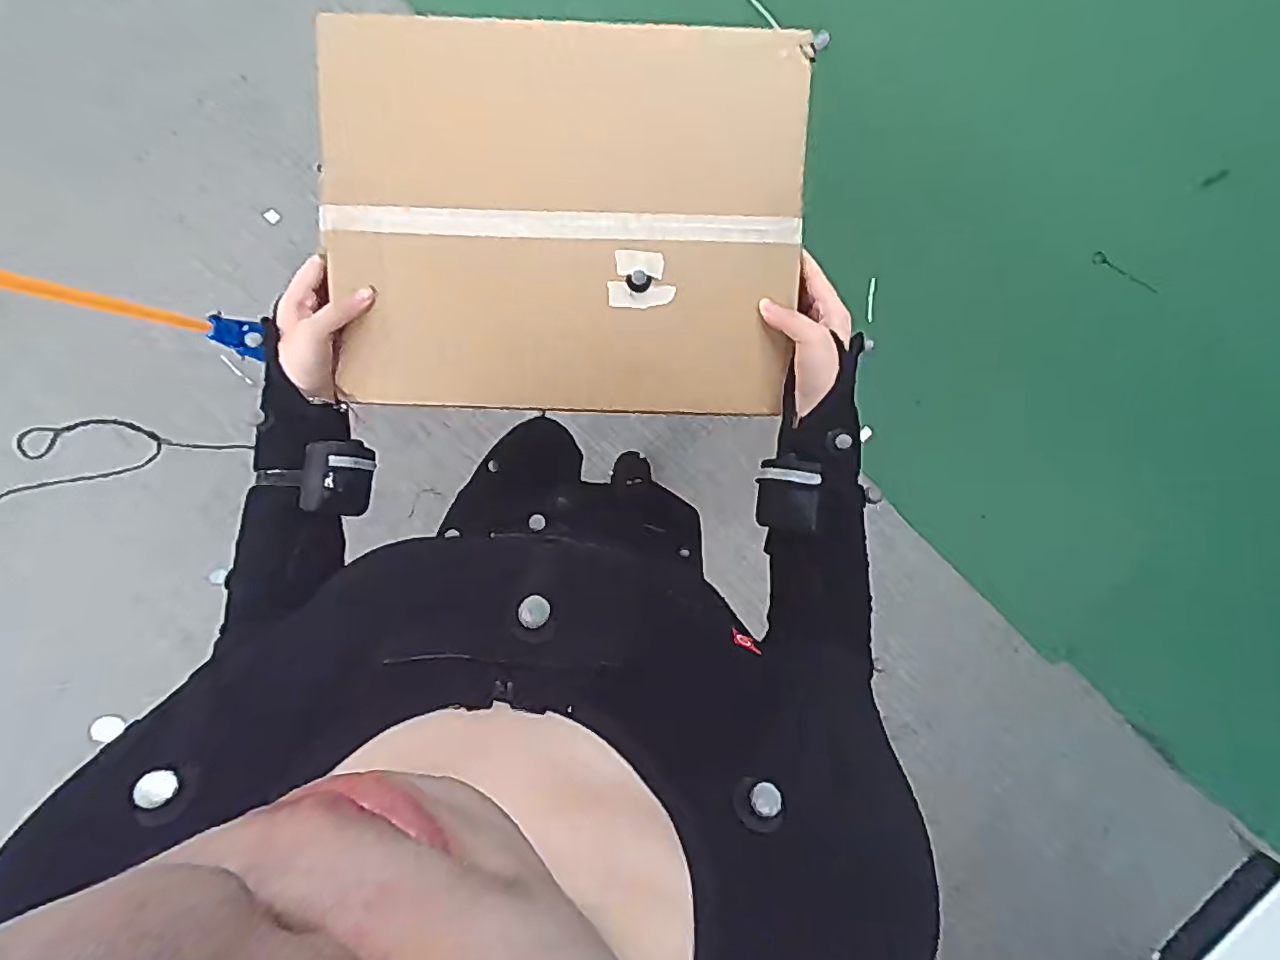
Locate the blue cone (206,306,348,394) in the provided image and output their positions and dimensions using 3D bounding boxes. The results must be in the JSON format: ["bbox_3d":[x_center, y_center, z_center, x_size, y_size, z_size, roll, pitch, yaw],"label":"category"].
[{"bbox_3d":[-0.868,-0.331,1.265,0.192,0.380,0.193,-36,95,-1],"label":"blue cone"}]

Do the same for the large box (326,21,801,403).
[{"bbox_3d":[-0.068,-0.247,0.617,0.408,0.320,0.320,1,99,-2],"label":"large box"}]
